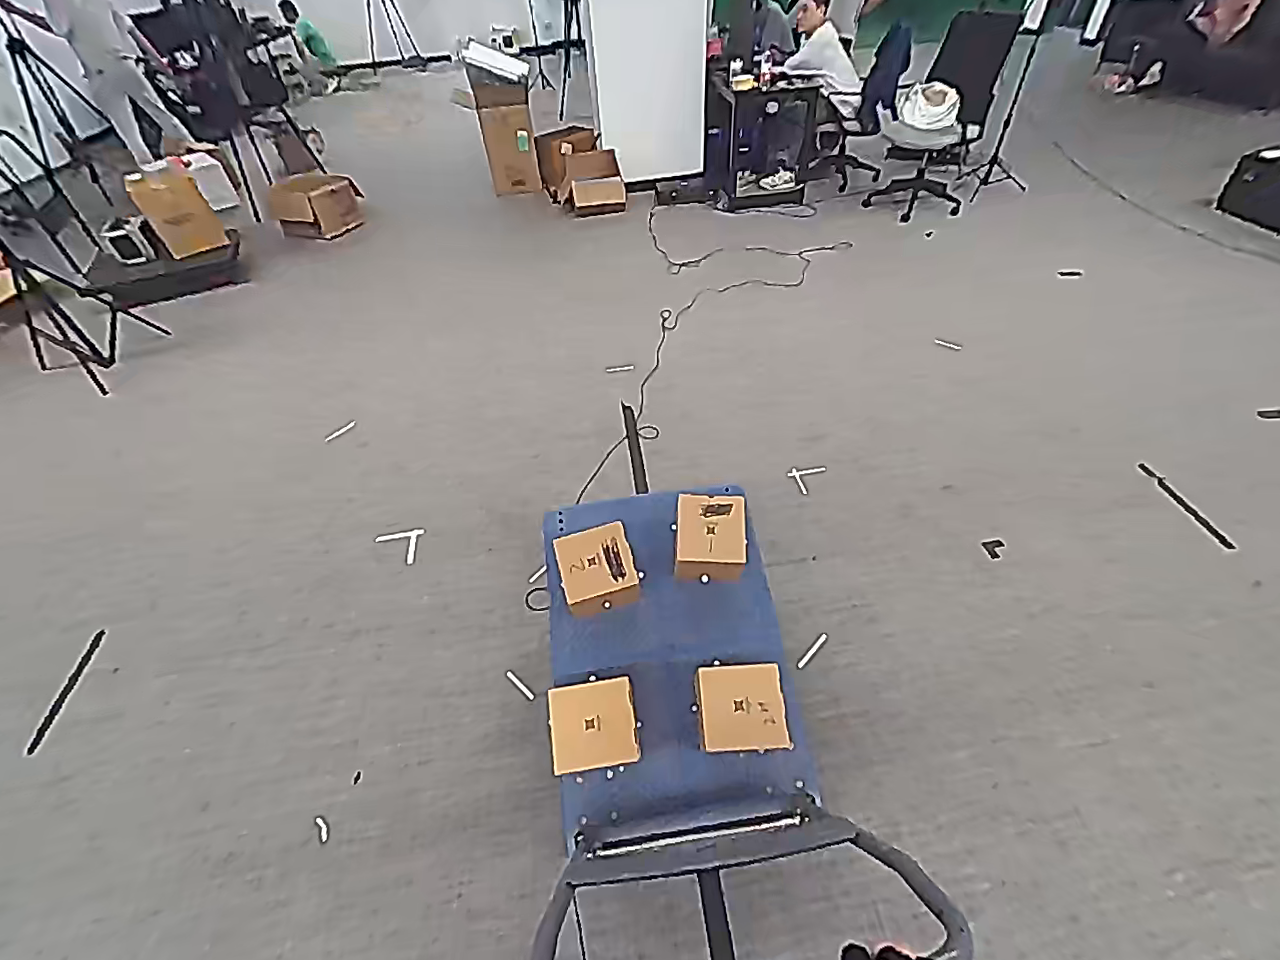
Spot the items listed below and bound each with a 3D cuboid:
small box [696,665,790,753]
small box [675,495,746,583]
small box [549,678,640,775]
[{"bbox_3d":[0.219,0.513,1.203,0.179,0.176,0.168,-3,64,0],"label":"small box"},{"bbox_3d":[0.175,0.154,1.384,0.168,0.176,0.179,2,65,3],"label":"small box"},{"bbox_3d":[-0.097,0.548,1.196,0.179,0.176,0.168,-8,63,-5],"label":"small box"}]
